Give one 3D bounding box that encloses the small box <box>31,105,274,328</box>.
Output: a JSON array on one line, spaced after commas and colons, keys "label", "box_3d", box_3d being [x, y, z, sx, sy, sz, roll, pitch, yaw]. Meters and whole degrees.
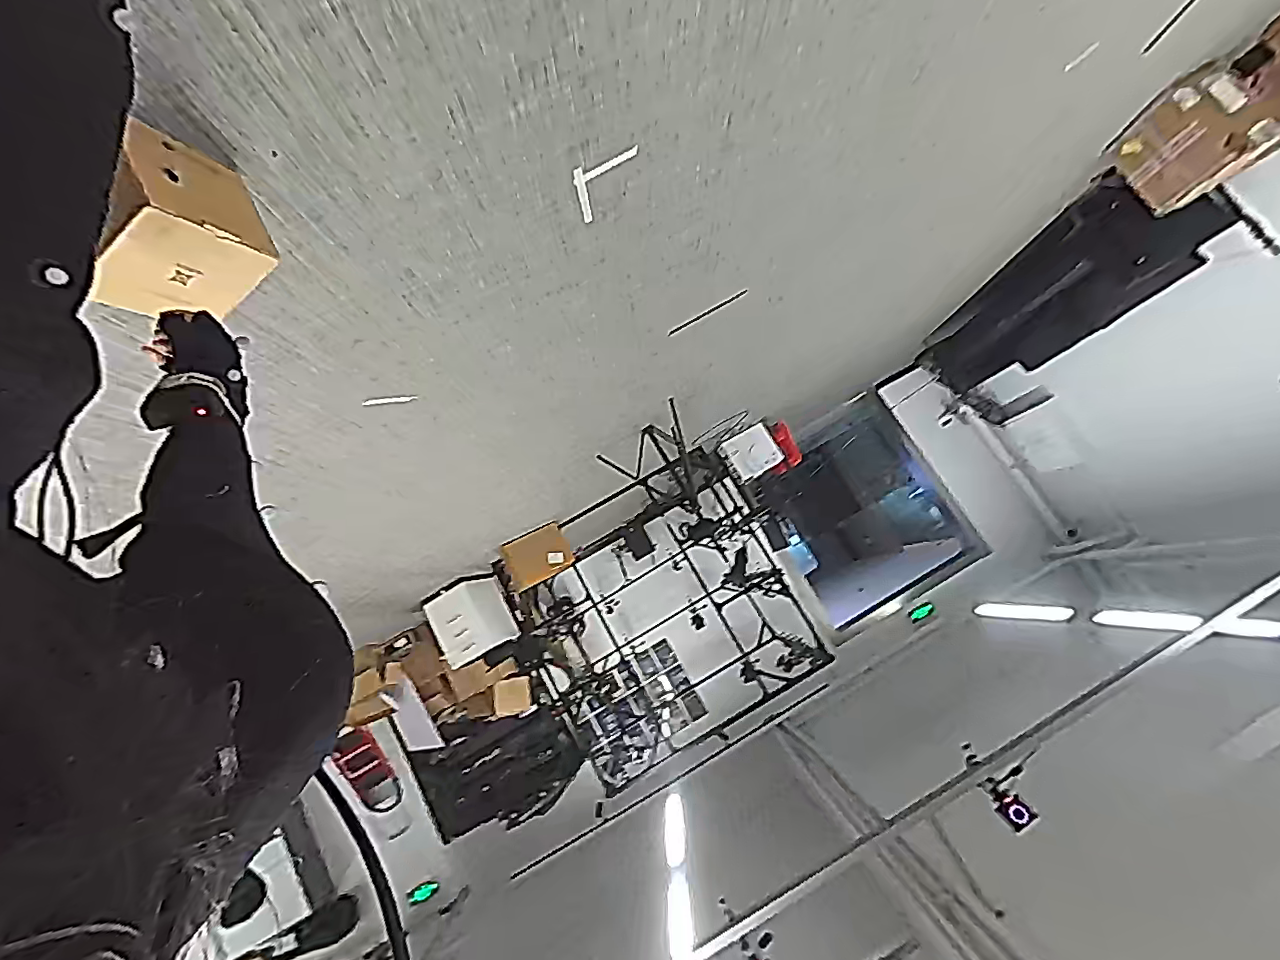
[{"label": "small box", "box_3d": [-0.649, -0.342, 0.724, 0.179, 0.176, 0.168, -32, 169, 15]}]
